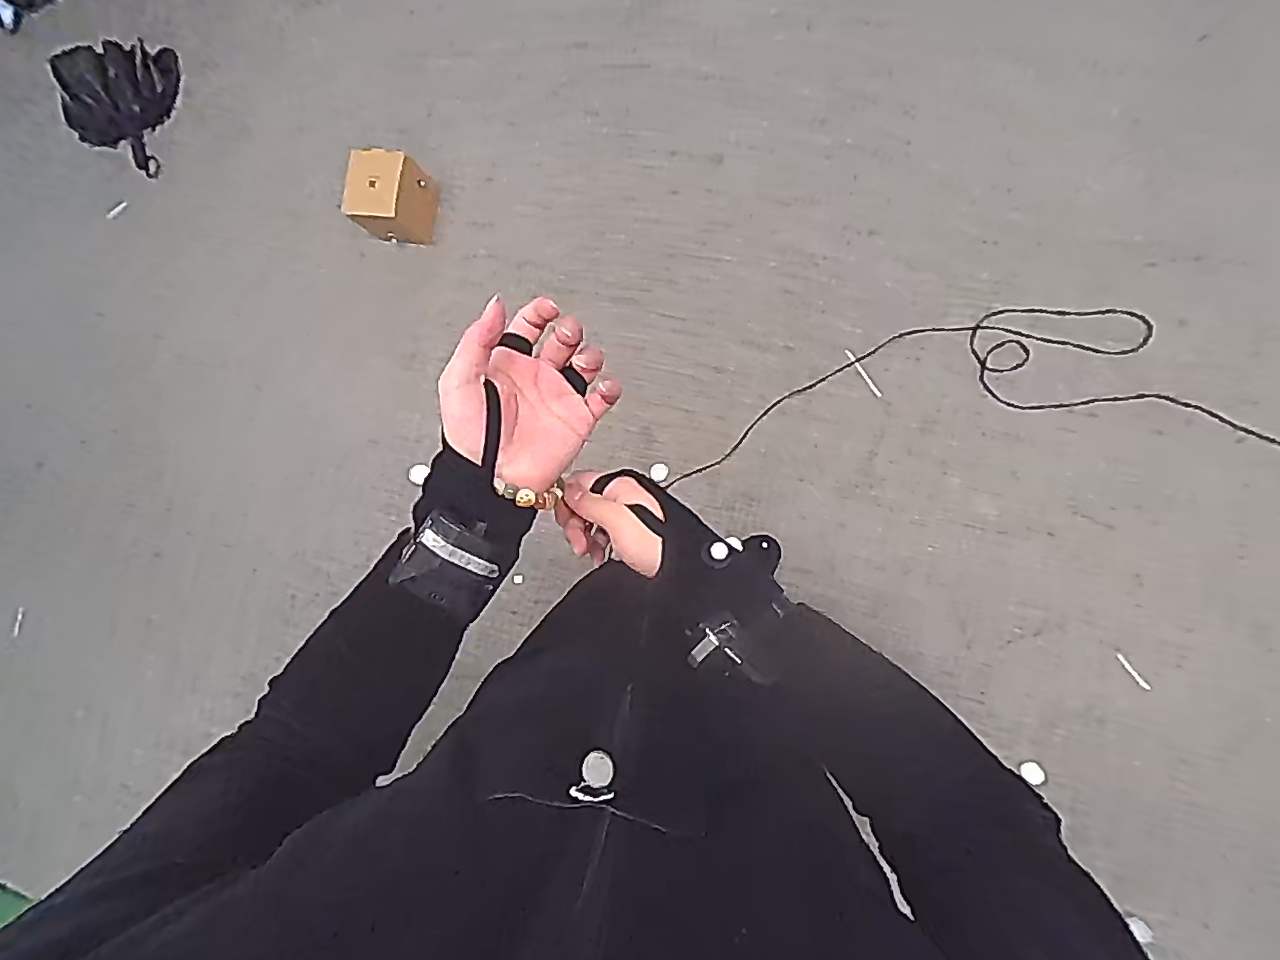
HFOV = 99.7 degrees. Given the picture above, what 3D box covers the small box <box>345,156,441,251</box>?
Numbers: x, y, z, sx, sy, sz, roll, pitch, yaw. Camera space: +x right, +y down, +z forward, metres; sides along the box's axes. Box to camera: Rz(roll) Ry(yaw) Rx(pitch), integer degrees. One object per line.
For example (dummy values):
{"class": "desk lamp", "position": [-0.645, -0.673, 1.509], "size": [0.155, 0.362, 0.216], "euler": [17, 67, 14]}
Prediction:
{"class": "small box", "position": [-0.679, -0.765, 1.503], "size": [0.168, 0.176, 0.179], "euler": [9, 91, 13]}
